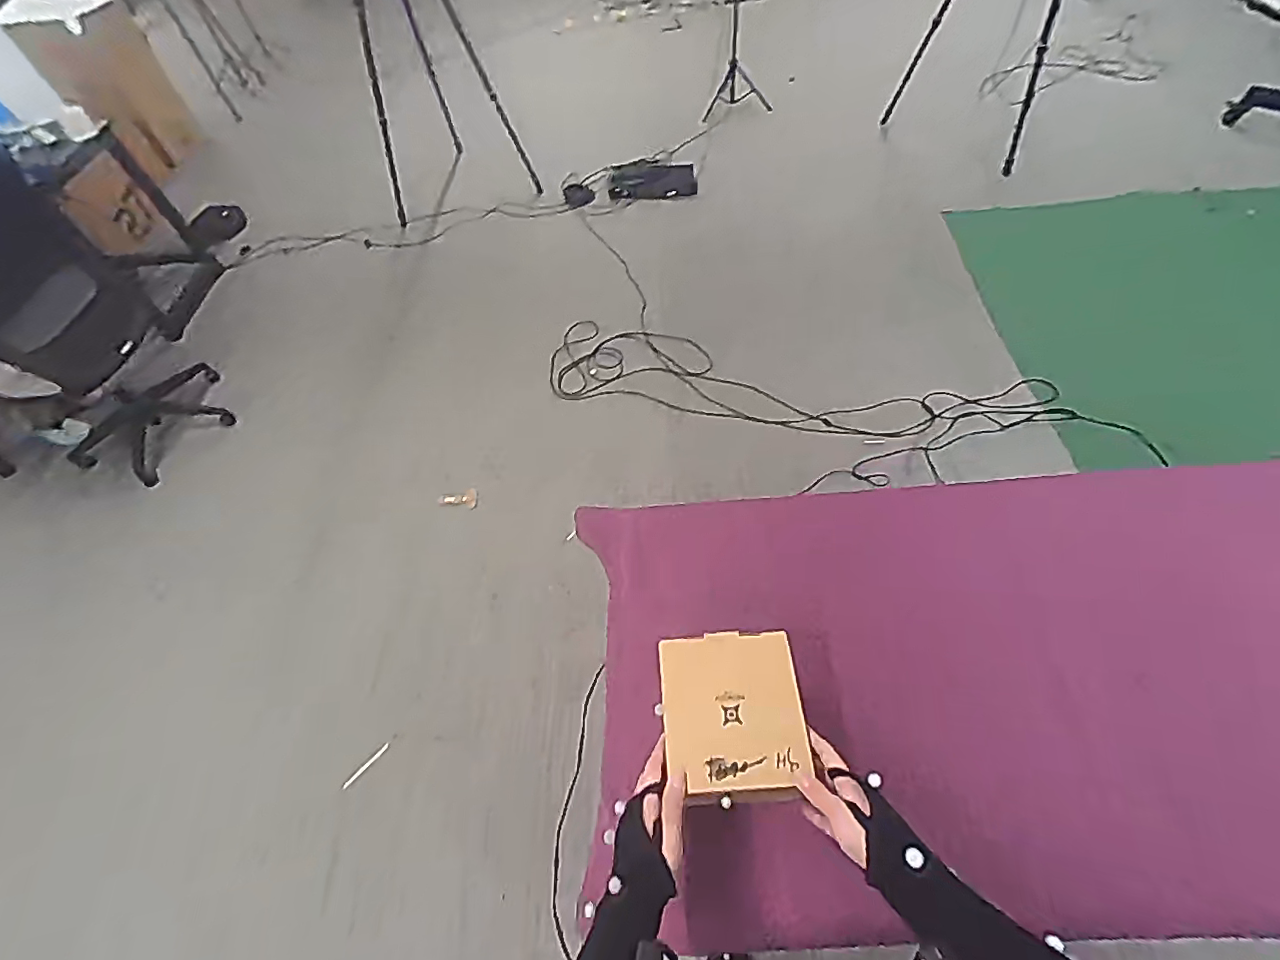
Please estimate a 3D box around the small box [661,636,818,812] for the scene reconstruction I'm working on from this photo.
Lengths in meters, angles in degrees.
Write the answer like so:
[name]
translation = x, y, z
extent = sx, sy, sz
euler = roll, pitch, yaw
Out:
[small box]
translation = 0.115, 0.319, 0.700
extent = 0.168, 0.176, 0.179
euler = -5, 55, 3
